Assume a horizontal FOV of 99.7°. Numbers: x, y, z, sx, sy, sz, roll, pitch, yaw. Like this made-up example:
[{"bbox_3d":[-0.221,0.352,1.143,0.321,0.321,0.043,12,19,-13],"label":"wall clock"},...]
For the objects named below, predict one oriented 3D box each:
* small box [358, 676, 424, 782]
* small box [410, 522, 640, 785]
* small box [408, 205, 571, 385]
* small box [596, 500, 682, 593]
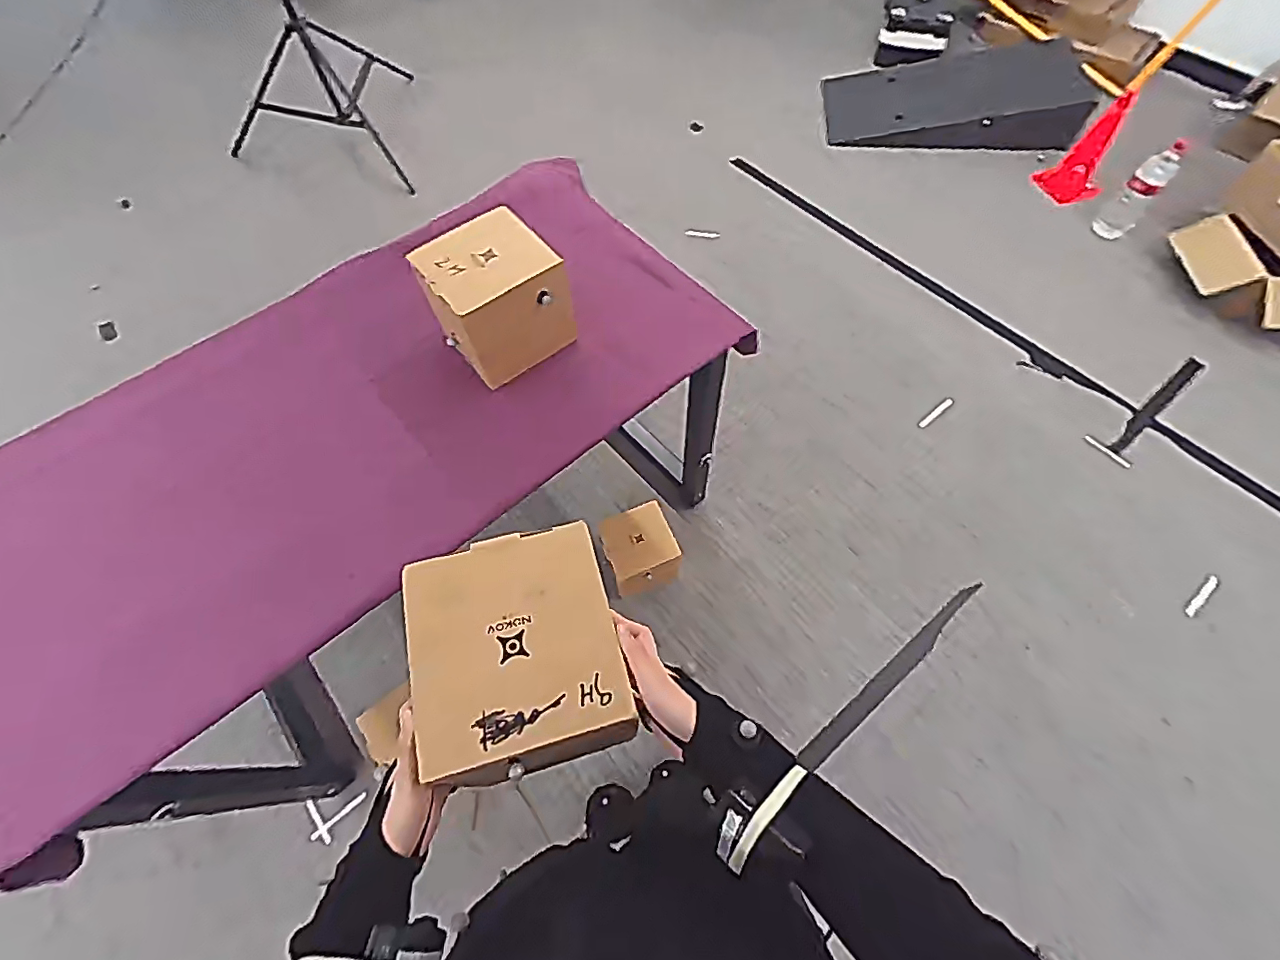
[{"bbox_3d":[-0.507,0.571,1.260,0.179,0.176,0.168,-35,68,-15],"label":"small box"},{"bbox_3d":[-0.101,0.168,0.508,0.168,0.176,0.179,-14,60,-8],"label":"small box"},{"bbox_3d":[-0.224,-0.288,0.860,0.179,0.176,0.168,-36,67,-14],"label":"small box"},{"bbox_3d":[-0.003,0.180,1.436,0.179,0.176,0.168,-22,65,-8],"label":"small box"}]
